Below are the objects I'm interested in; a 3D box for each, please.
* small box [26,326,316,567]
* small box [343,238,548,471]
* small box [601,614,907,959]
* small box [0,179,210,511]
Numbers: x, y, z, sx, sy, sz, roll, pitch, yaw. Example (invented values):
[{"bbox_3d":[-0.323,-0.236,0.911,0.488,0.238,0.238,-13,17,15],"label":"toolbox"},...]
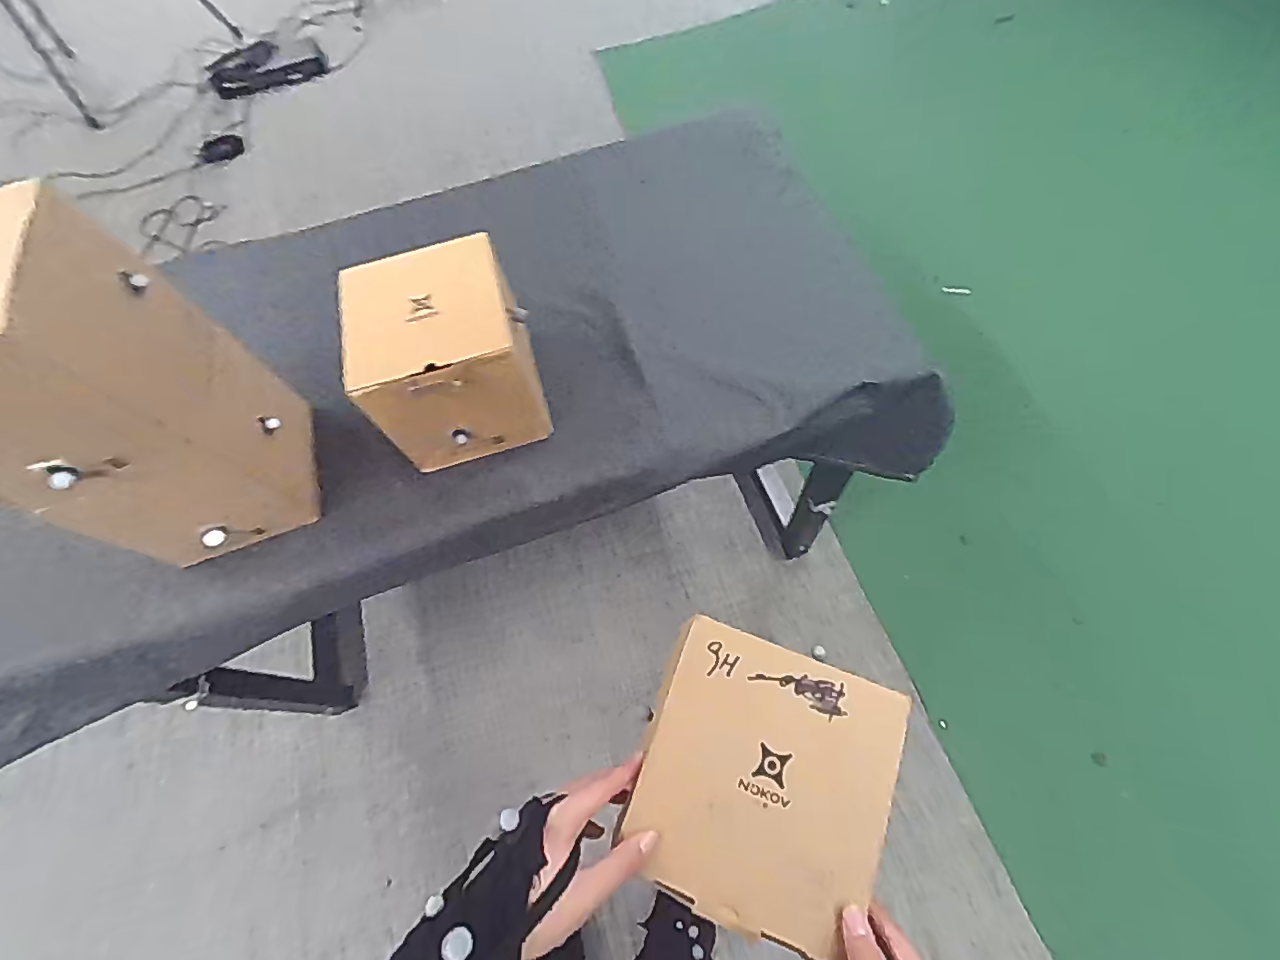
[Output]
[{"bbox_3d":[-0.488,-0.029,0.594,0.168,0.176,0.179,-20,64,-5],"label":"small box"},{"bbox_3d":[-0.217,-0.138,0.625,0.168,0.176,0.179,-17,64,-4],"label":"small box"},{"bbox_3d":[0.083,0.227,0.439,0.168,0.176,0.179,20,72,7],"label":"small box"},{"bbox_3d":[-0.501,-0.101,0.449,0.168,0.176,0.179,-21,65,-4],"label":"small box"}]
